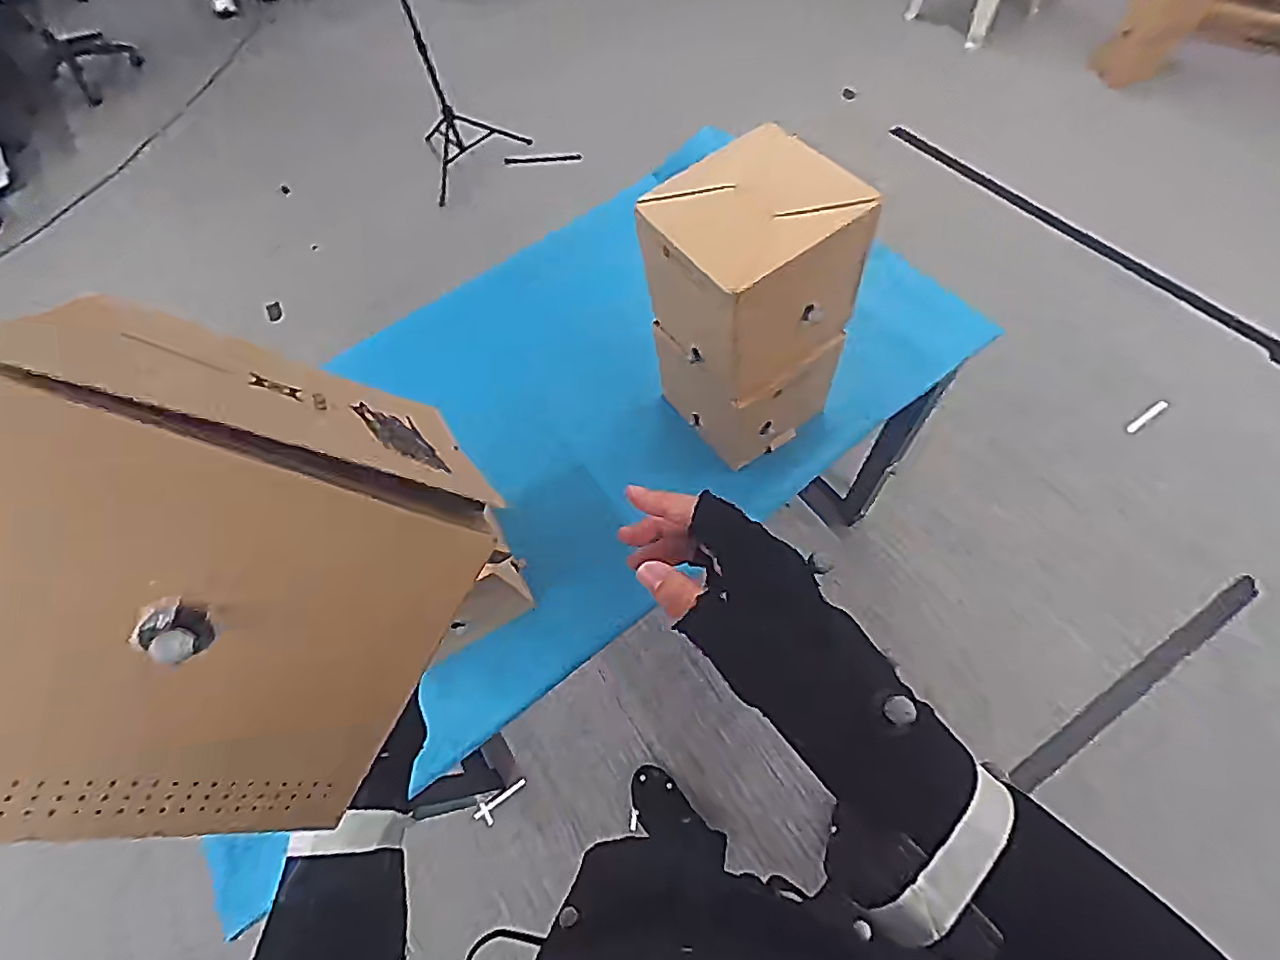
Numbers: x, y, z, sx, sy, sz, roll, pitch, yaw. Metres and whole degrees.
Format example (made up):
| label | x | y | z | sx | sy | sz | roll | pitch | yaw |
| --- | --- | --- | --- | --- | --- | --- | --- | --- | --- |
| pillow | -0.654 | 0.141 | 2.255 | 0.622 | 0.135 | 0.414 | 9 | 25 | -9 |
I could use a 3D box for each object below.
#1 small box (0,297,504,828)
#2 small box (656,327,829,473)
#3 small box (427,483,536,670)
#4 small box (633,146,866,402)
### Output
| label | x | y | z | sx | sy | sz | roll | pitch | yaw |
| --- | --- | --- | --- | --- | --- | --- | --- | --- | --- |
| small box | -0.202 | 0.039 | 0.268 | 0.176 | 0.179 | 0.168 | -60 | 38 | 6 |
| small box | 0.135 | -0.147 | 0.734 | 0.168 | 0.176 | 0.179 | -35 | 64 | -10 |
| small box | -0.256 | 0.105 | 0.662 | 0.168 | 0.176 | 0.179 | -30 | 65 | -8 |
| small box | 0.116 | -0.226 | 0.592 | 0.179 | 0.176 | 0.168 | -34 | 63 | -6 |
